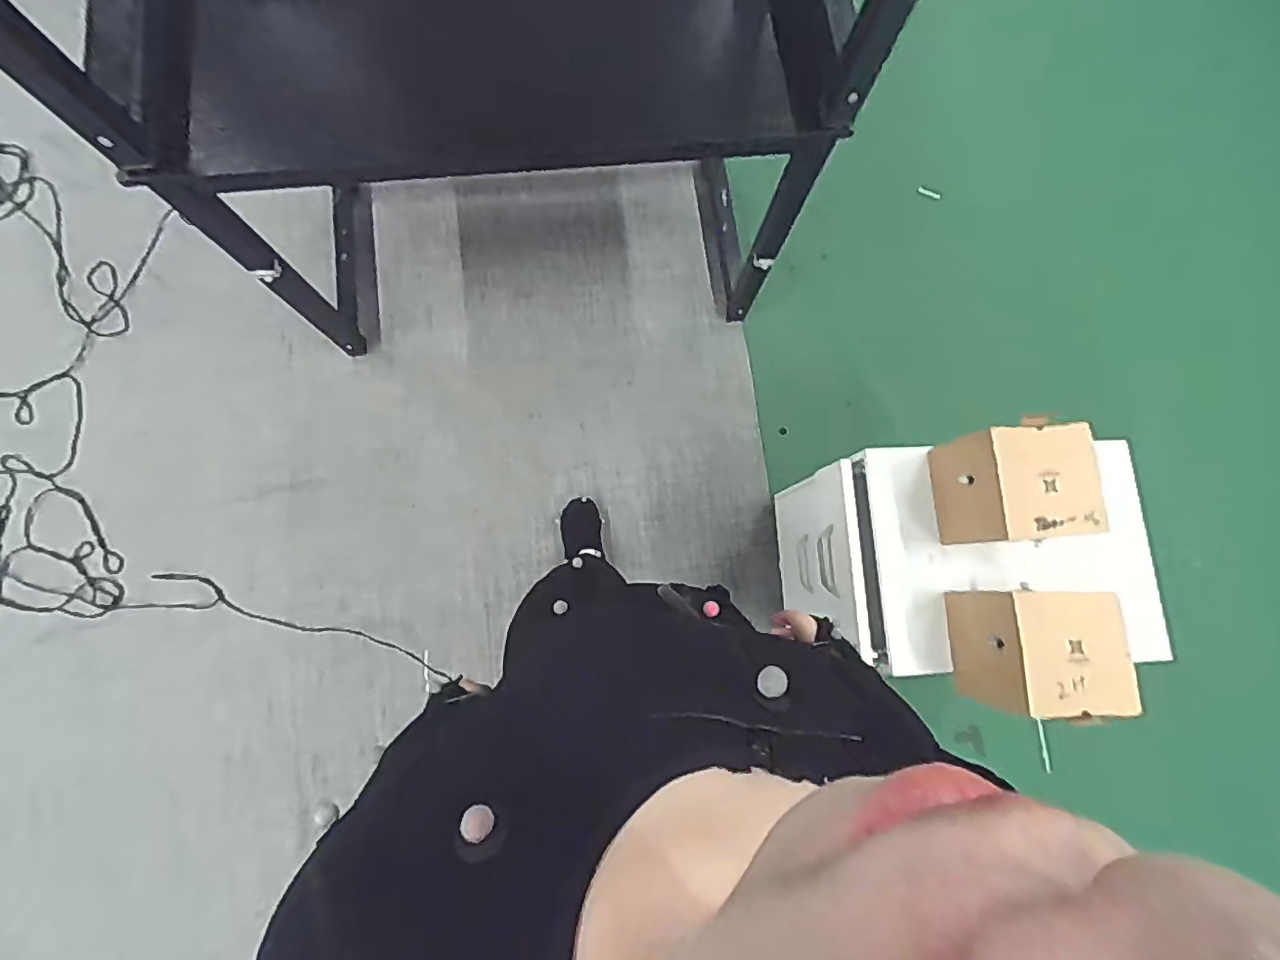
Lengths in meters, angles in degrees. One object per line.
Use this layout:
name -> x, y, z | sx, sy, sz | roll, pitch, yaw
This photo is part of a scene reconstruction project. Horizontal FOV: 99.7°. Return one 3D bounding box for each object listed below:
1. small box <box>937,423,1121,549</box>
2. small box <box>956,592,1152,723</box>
small box -> 0.614, 0.017, 0.880 | 0.168, 0.176, 0.179 | -3, 80, -3
small box -> 0.618, 0.263, 0.833 | 0.168, 0.176, 0.179 | 0, 79, -2
